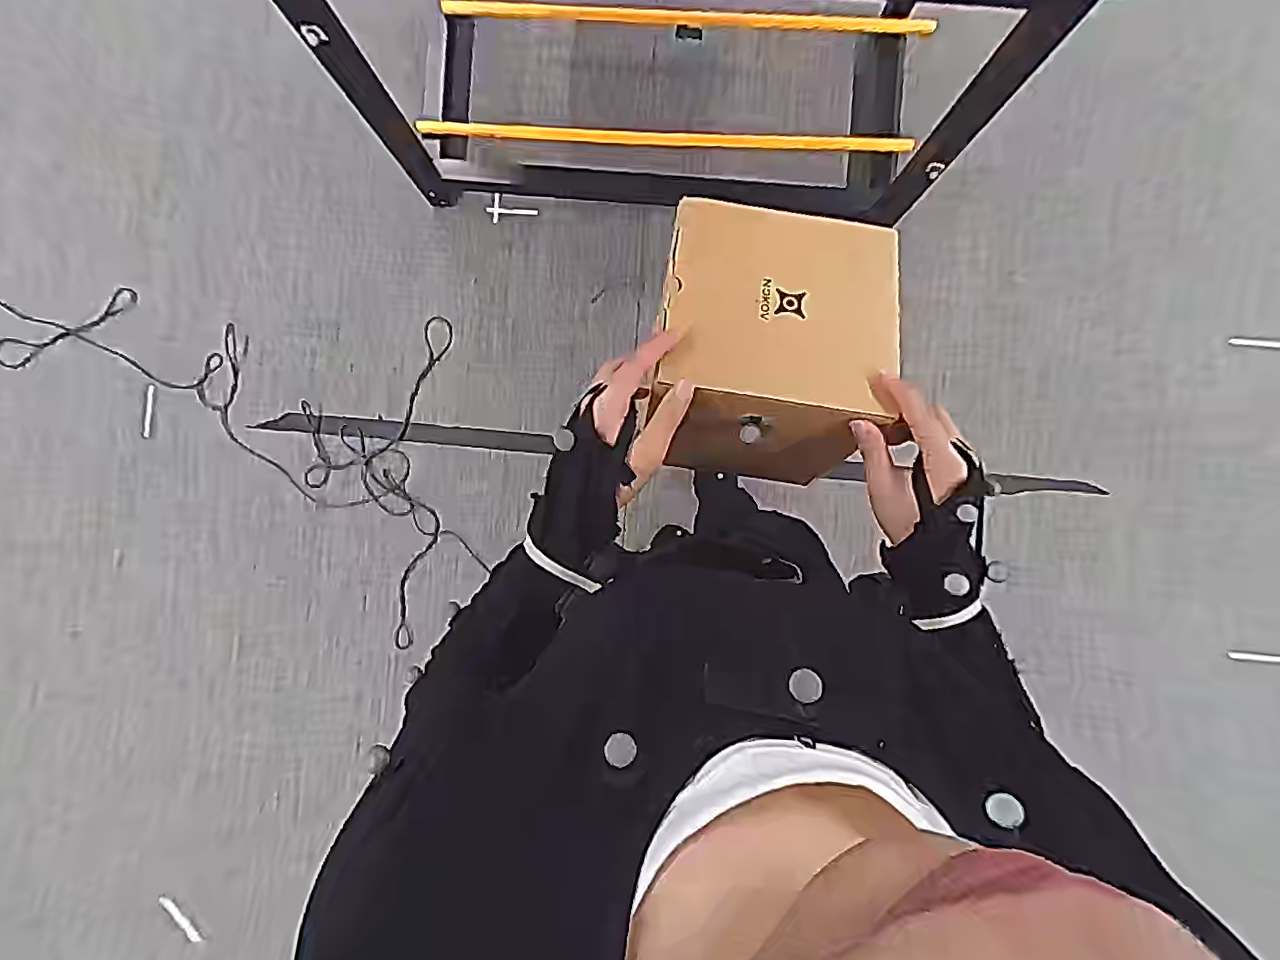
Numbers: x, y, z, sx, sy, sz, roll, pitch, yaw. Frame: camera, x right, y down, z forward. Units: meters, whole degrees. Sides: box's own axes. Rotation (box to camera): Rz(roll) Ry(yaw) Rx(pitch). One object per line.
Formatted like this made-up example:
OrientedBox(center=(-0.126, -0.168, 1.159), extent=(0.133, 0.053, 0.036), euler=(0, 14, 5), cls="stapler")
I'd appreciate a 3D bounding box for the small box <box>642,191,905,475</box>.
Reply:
OrientedBox(center=(0.103, -0.110, 0.471), extent=(0.179, 0.176, 0.168), euler=(8, 73, -1), cls="small box")
